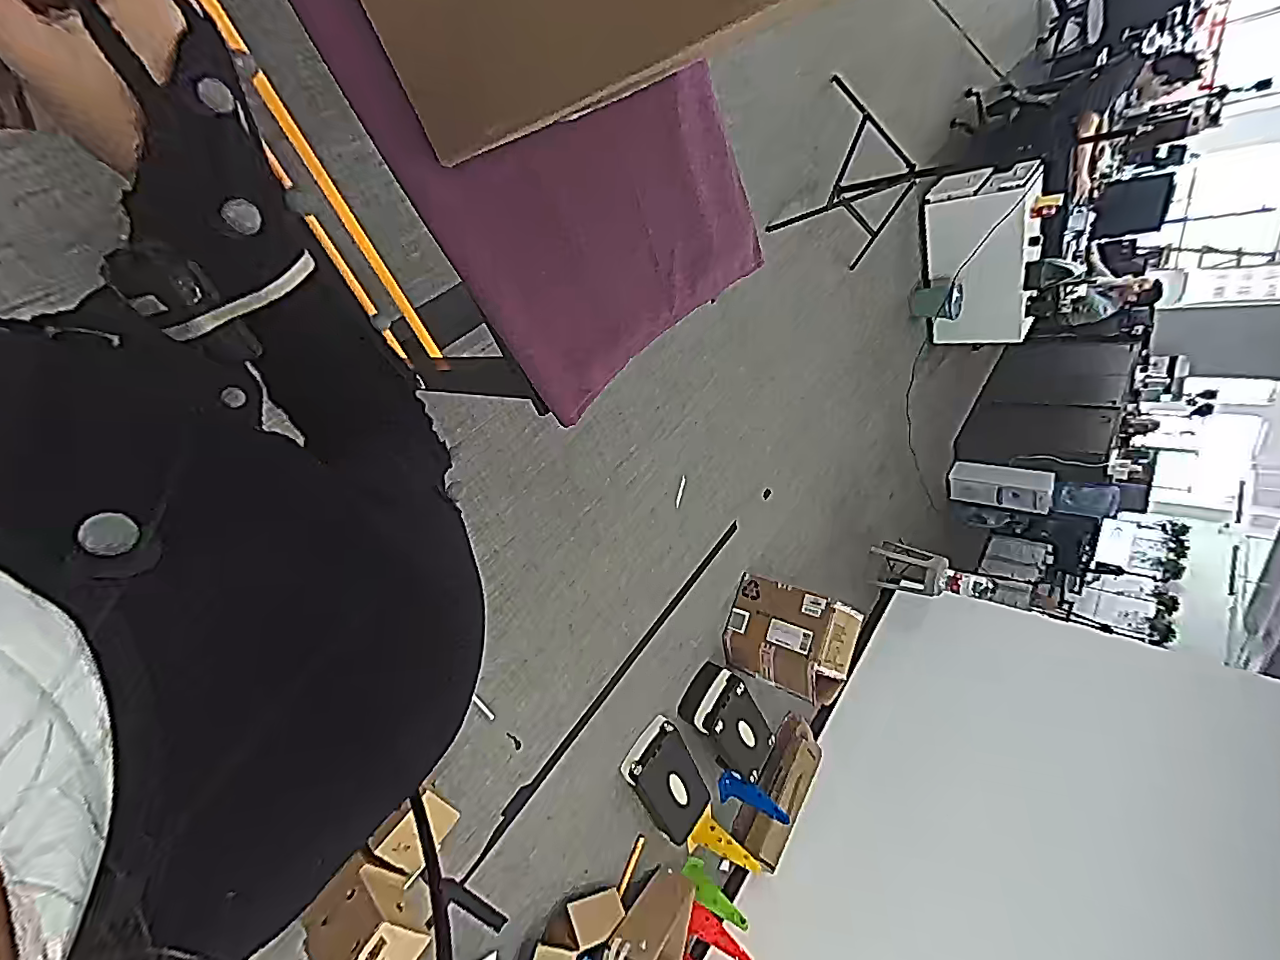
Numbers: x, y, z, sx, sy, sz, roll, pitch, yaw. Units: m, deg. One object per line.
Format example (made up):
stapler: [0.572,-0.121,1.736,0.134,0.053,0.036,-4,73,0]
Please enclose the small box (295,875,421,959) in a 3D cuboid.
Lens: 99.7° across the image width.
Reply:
small box: [-0.663,1.076,1.269,0.168,0.176,0.179,-50,132,-26]
